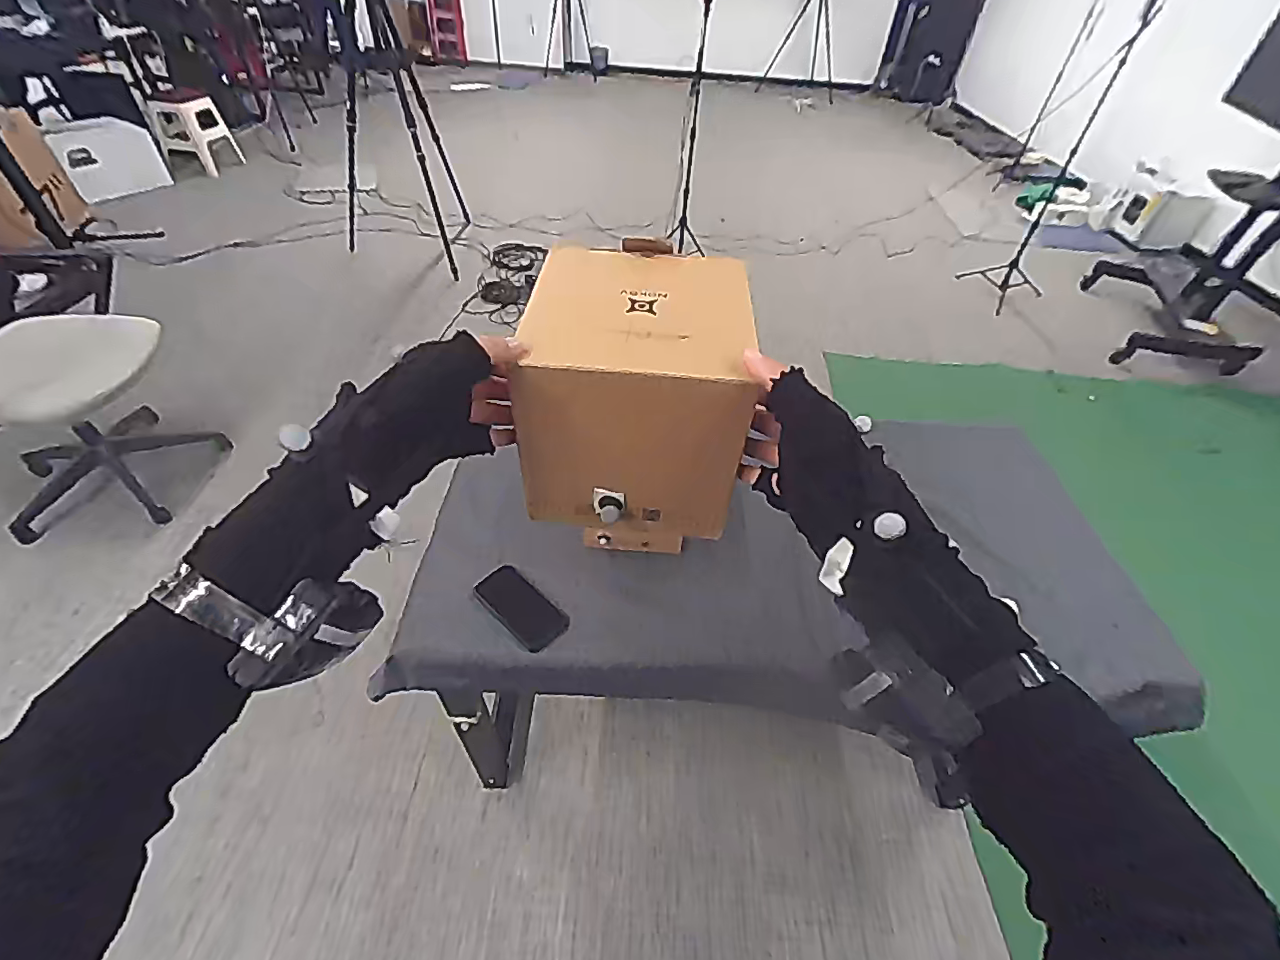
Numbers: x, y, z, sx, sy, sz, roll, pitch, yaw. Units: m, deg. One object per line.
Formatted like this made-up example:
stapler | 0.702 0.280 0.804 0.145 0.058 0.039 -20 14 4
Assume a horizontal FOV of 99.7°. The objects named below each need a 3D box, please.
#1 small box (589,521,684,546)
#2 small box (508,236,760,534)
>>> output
small box | 0.002 -0.006 0.932 0.168 0.176 0.179 5 45 0
small box | -0.002 -0.079 0.456 0.168 0.176 0.179 5 47 1
